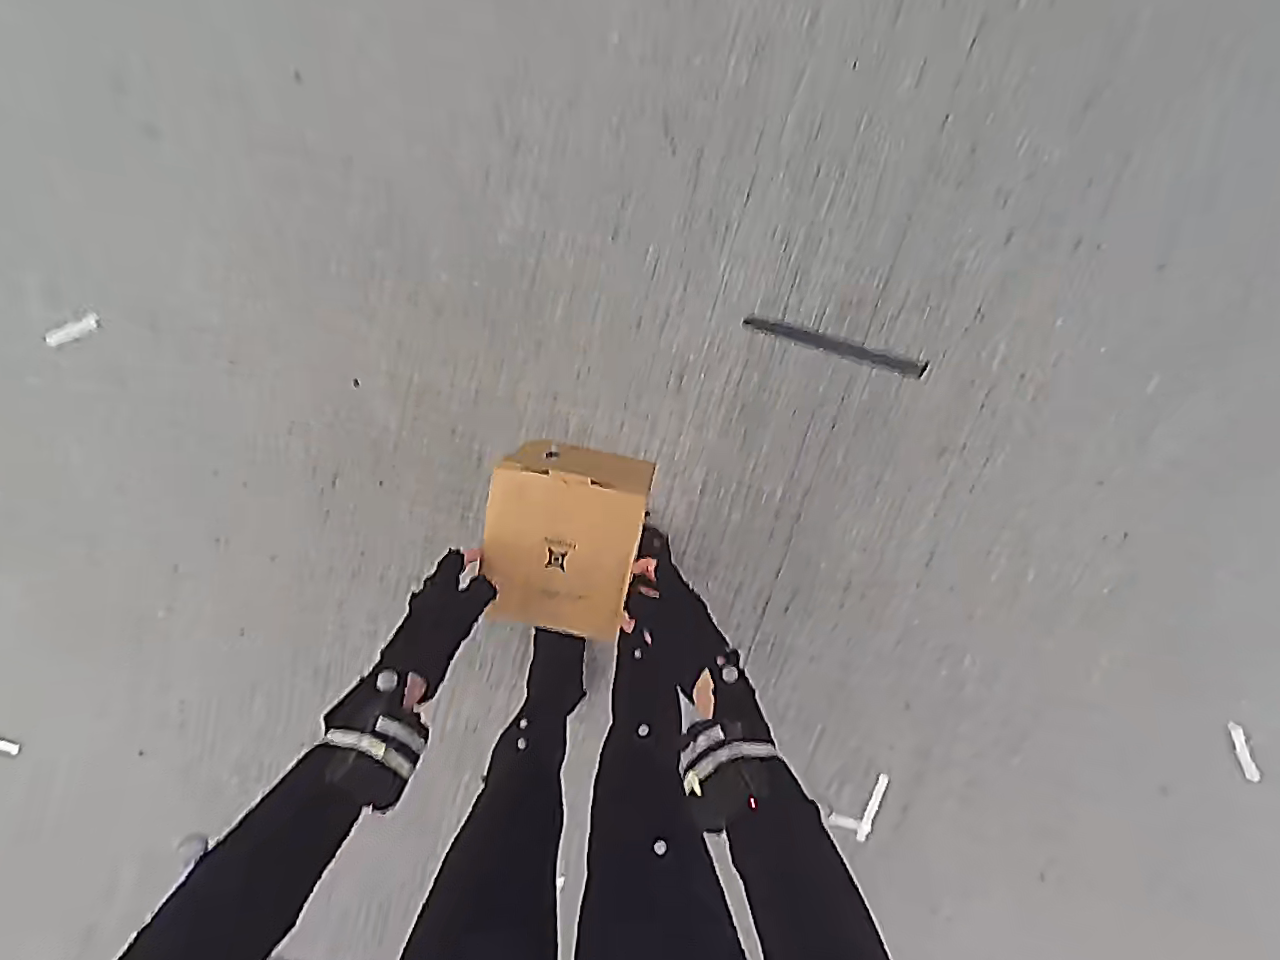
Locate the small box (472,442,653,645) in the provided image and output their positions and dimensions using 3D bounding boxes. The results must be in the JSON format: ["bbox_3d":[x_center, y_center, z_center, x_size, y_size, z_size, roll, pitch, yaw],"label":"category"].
[{"bbox_3d":[-0.080,0.061,0.639,0.168,0.176,0.179,12,104,2],"label":"small box"}]
